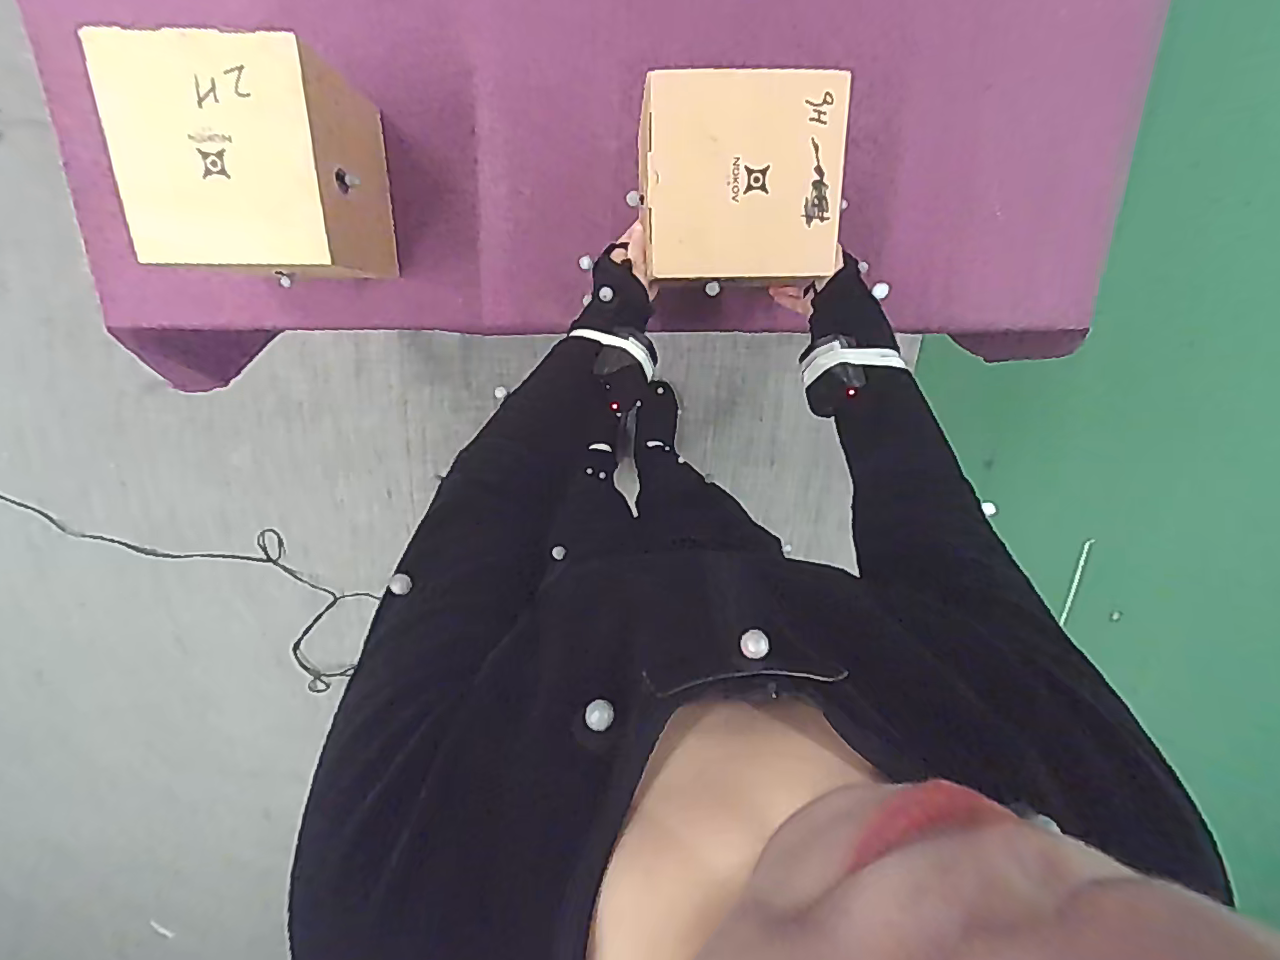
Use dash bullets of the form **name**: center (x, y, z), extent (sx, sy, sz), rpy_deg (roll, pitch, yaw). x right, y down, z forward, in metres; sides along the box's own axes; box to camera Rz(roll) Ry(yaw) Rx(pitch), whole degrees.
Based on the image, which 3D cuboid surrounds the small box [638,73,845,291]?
- **small box**: center (0.086, -0.286, 0.556), extent (0.179, 0.176, 0.168), rpy_deg (-1, 107, -2)

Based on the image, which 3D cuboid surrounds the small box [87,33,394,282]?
- **small box**: center (-0.360, -0.292, 0.531), extent (0.168, 0.176, 0.179), rpy_deg (-1, 106, -4)
